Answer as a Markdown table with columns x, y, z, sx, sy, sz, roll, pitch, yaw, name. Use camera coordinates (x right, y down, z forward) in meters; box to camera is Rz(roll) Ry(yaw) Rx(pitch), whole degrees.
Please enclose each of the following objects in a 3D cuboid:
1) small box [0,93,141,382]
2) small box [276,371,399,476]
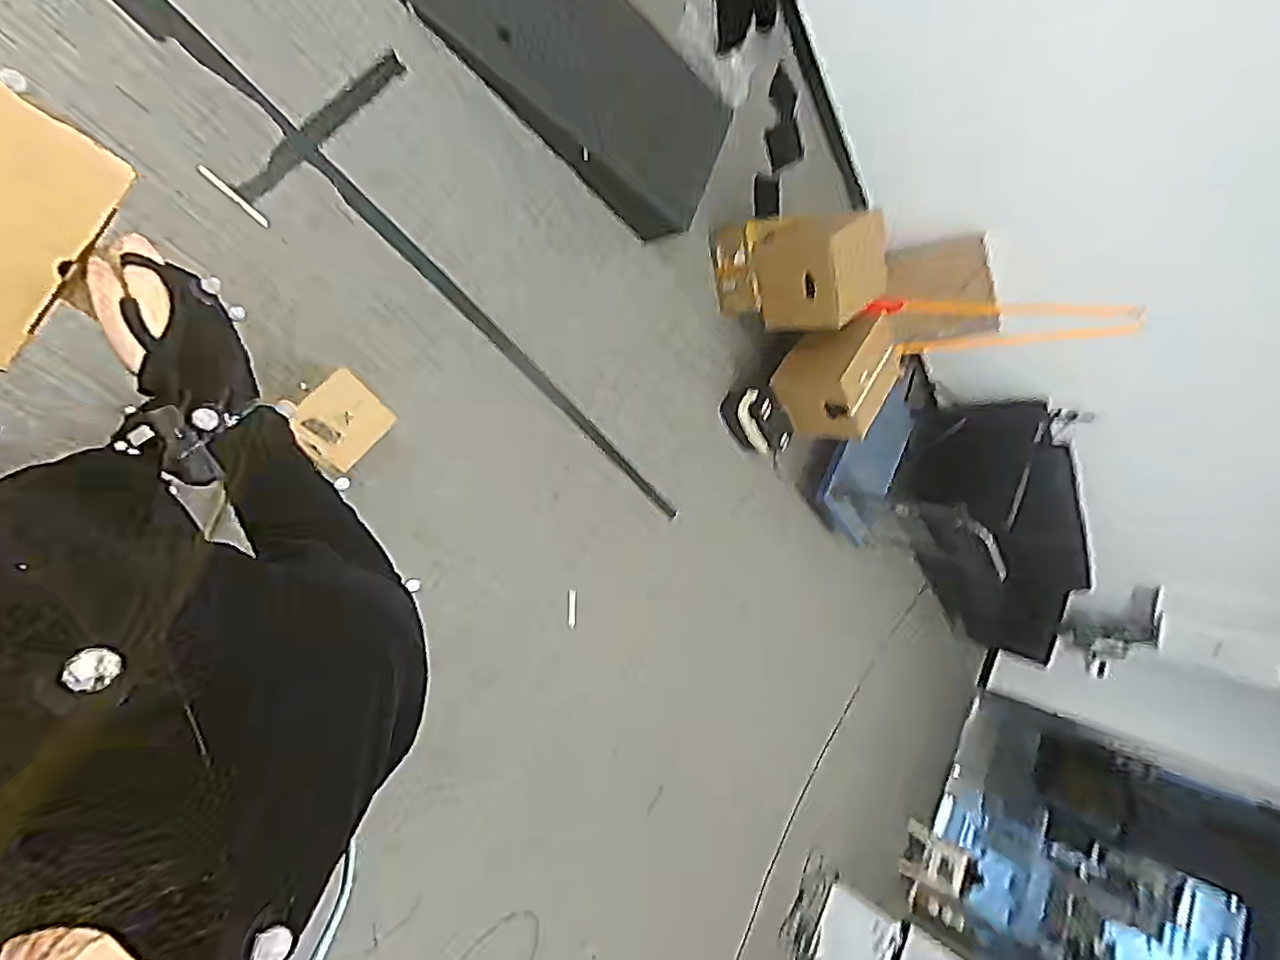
| x | y | z | sx | sy | sz | roll | pitch | yaw | name |
| --- | --- | --- | --- | --- | --- | --- | --- | --- | --- |
| -0.476 | -0.192 | 0.345 | 0.179 | 0.176 | 0.168 | 34 | 86 | -51 | small box |
| -0.701 | -0.132 | 1.246 | 0.179 | 0.176 | 0.168 | -54 | 128 | -23 | small box |
